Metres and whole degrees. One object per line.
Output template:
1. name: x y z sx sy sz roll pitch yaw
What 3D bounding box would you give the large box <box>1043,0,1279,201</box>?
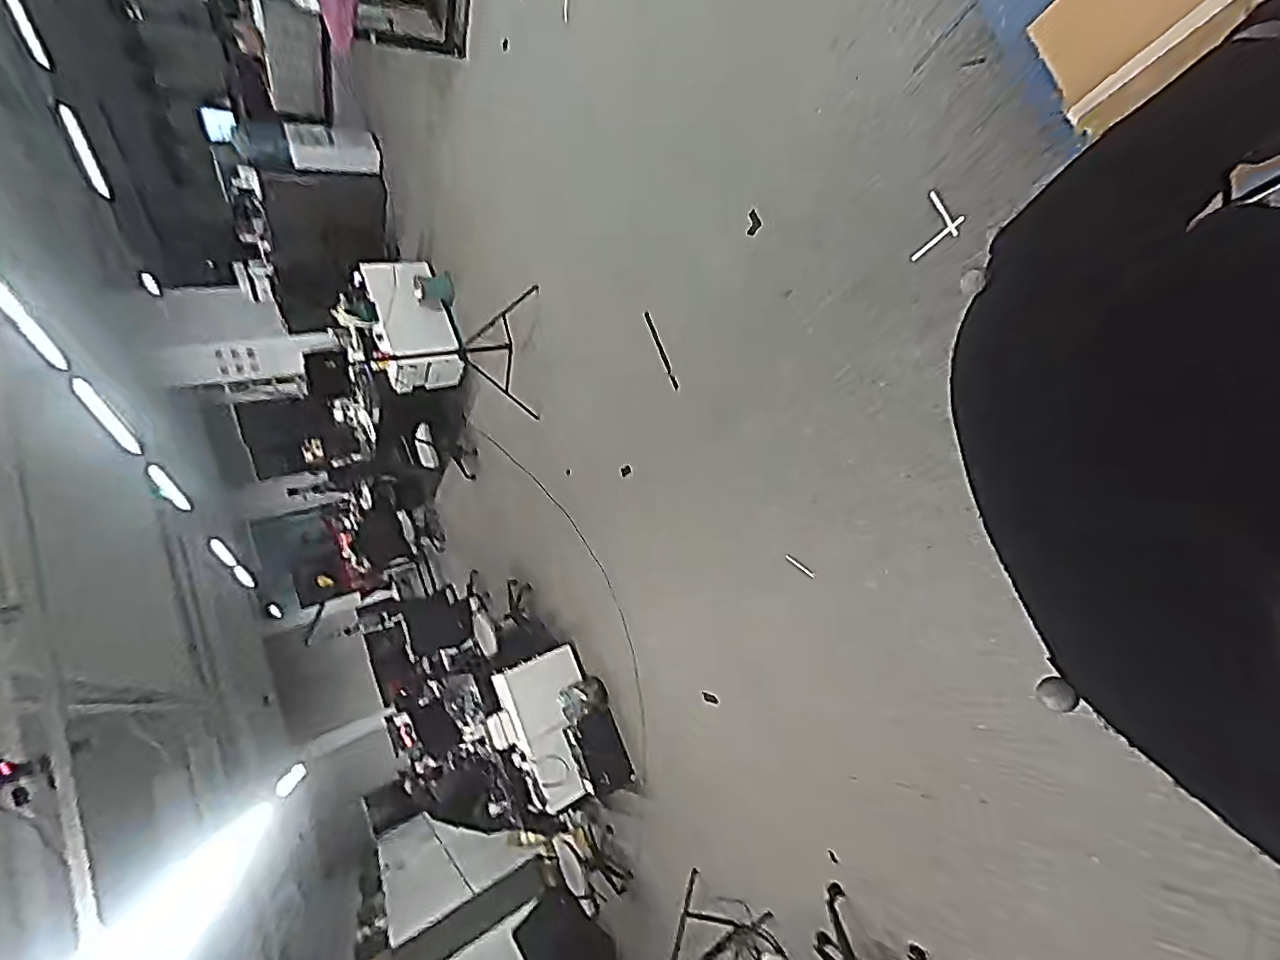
1. large box: 0.859 -0.637 0.695 0.408 0.320 0.320 -34 75 56
